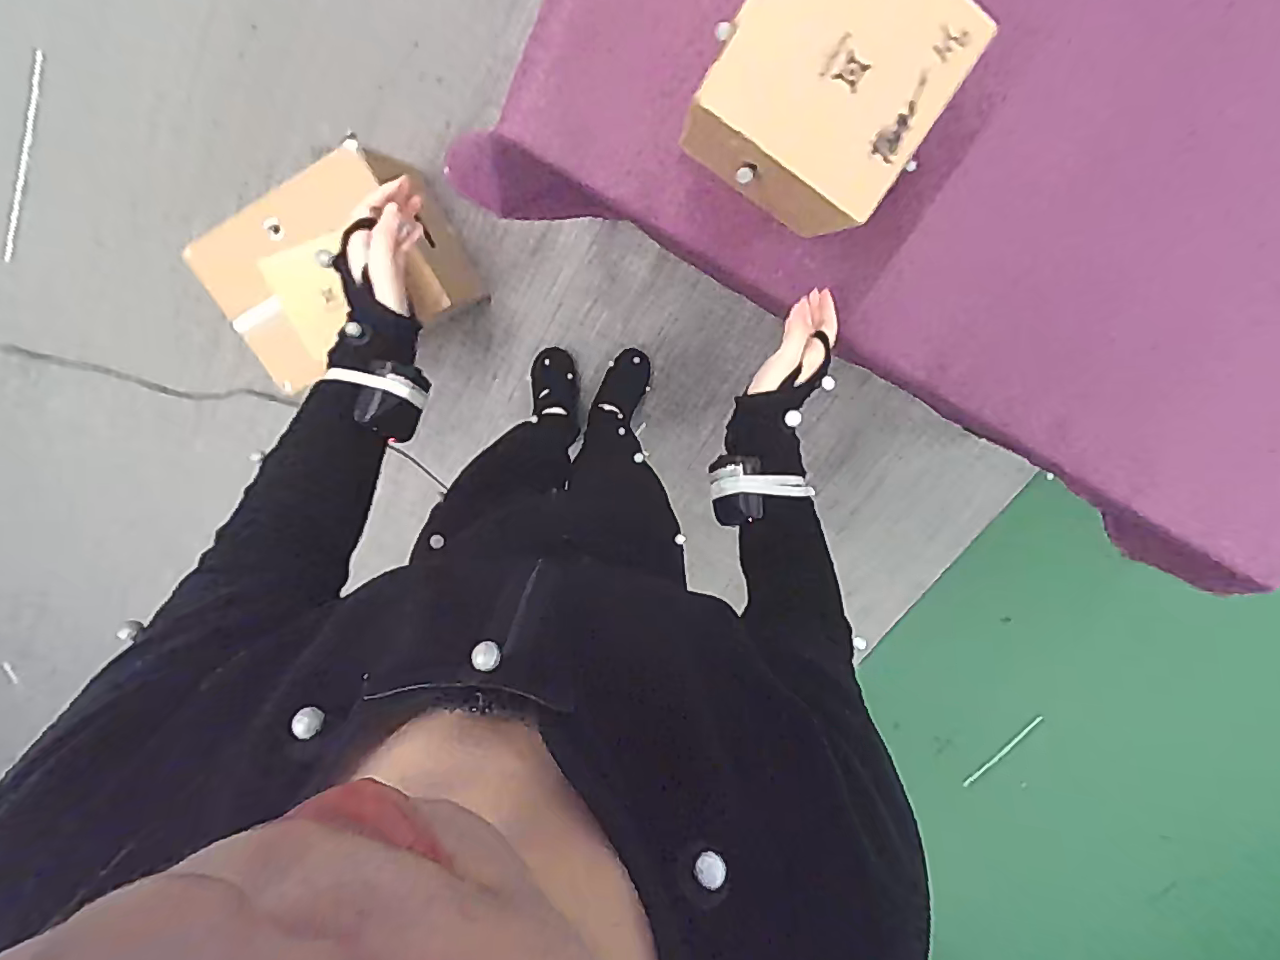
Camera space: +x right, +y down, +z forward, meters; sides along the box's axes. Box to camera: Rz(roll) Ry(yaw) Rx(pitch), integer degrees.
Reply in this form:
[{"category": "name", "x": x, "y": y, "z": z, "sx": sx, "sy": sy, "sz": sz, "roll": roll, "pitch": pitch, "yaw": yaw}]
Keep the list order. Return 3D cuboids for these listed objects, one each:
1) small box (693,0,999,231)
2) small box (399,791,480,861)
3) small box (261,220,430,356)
[{"category": "small box", "x": 0.164, "y": -0.351, "z": 0.499, "sx": 0.179, "sy": 0.176, "sz": 0.168, "roll": 31, "pitch": 109, "yaw": -10}, {"category": "small box", "x": -0.668, "y": 1.198, "z": 1.826, "sx": 0.179, "sy": 0.176, "sz": 0.168, "roll": 36, "pitch": 106, "yaw": -13}, {"category": "small box", "x": -0.500, "y": -0.339, "z": 0.950, "sx": 0.168, "sy": 0.176, "sz": 0.179, "roll": -16, "pitch": 115, "yaw": 6}]
